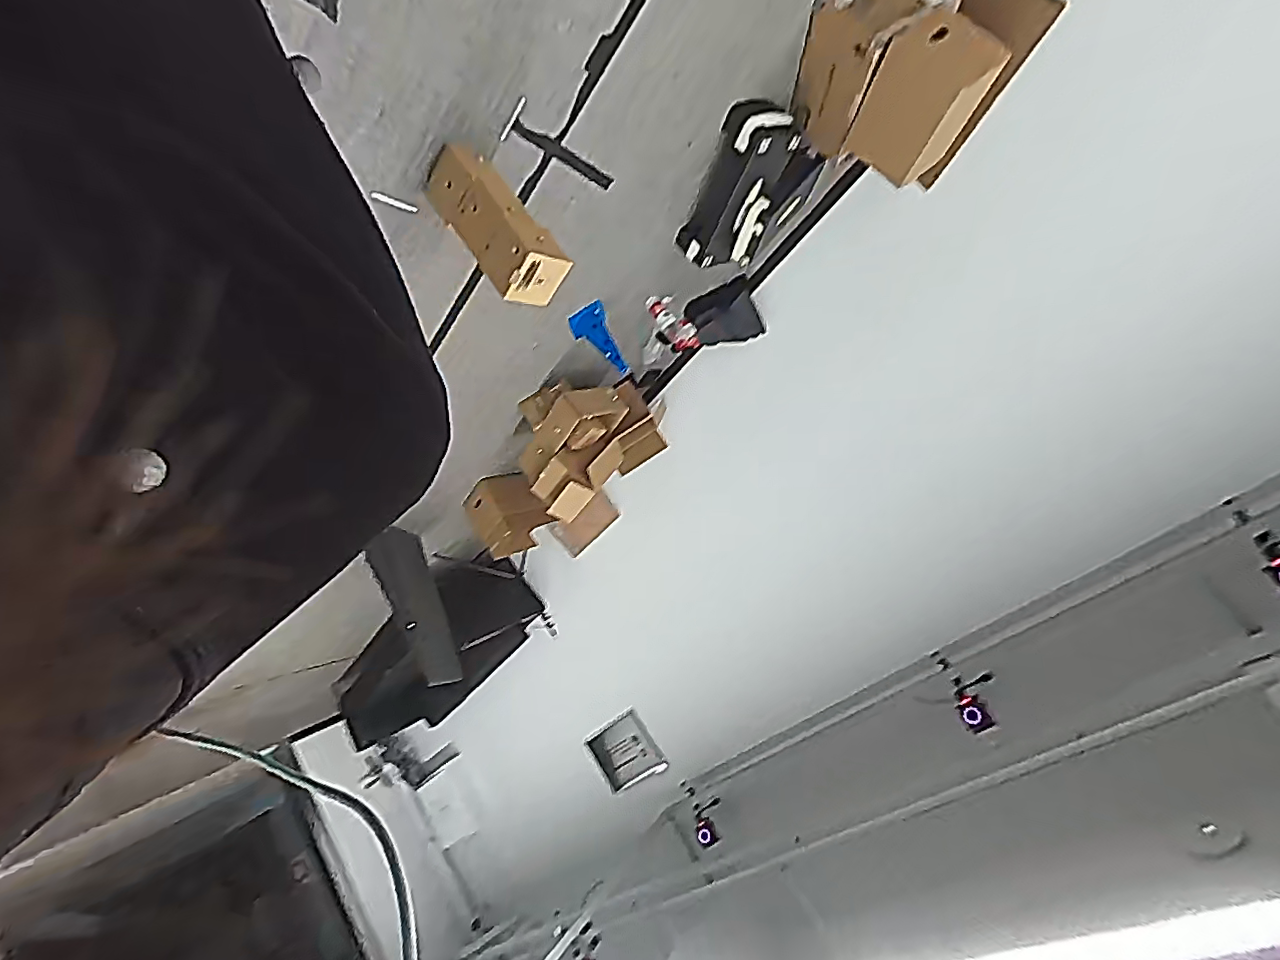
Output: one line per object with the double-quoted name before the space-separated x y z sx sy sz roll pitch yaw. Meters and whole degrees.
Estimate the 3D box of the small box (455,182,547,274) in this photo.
"small box" -0.426 -0.768 1.651 0.168 0.176 0.179 -43 162 27

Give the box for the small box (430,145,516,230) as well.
"small box" -0.526 -0.892 1.686 0.179 0.176 0.168 -46 161 31
